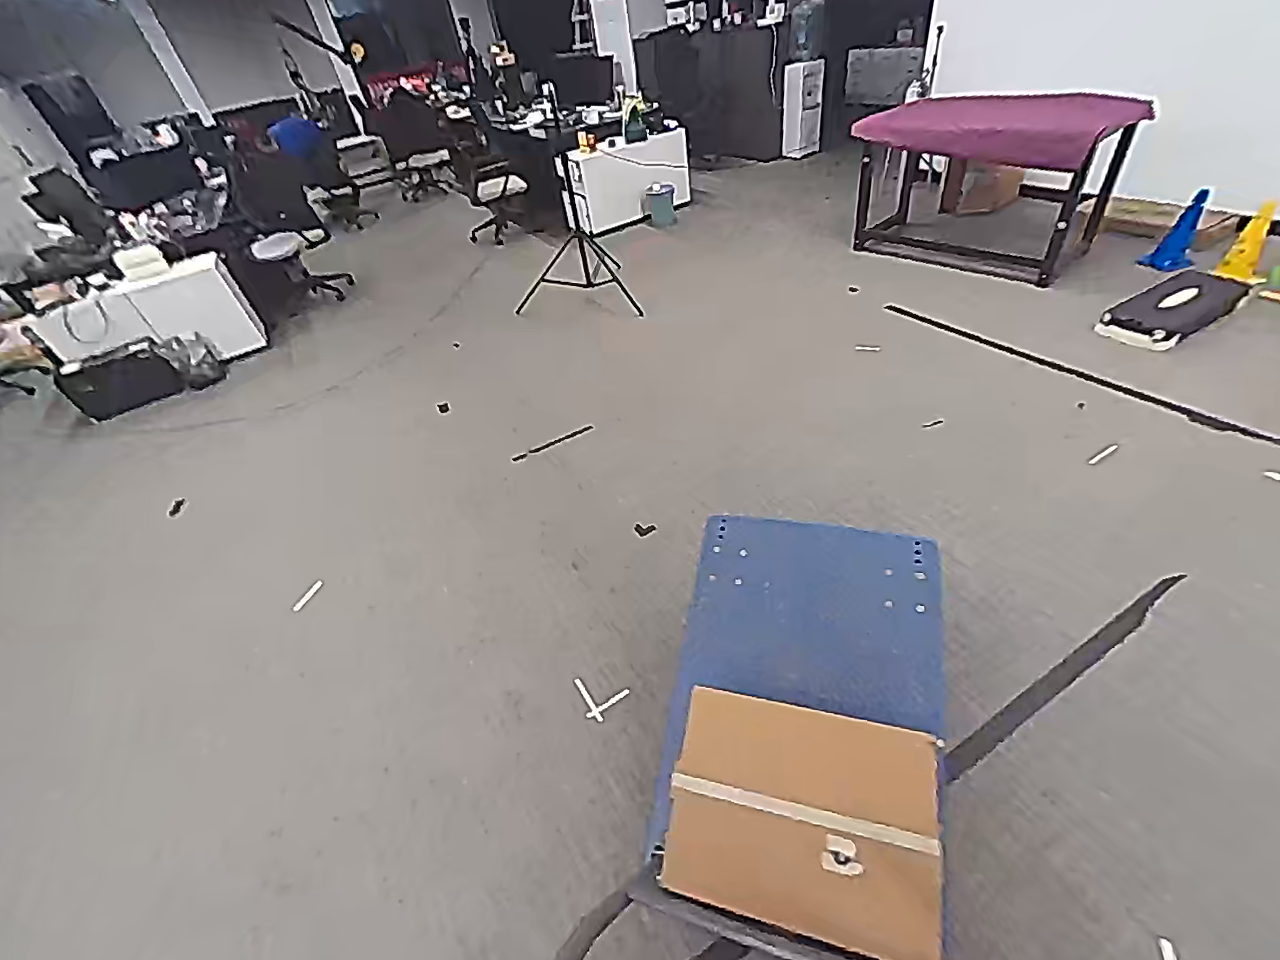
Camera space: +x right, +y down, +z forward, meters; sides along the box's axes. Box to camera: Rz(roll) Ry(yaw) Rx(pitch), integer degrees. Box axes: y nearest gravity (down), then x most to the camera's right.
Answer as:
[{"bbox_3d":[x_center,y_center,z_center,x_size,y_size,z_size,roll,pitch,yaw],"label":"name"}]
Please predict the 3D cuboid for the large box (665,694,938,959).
[{"bbox_3d":[0.286,0.616,1.006,0.408,0.320,0.320,5,63,16],"label":"large box"}]
